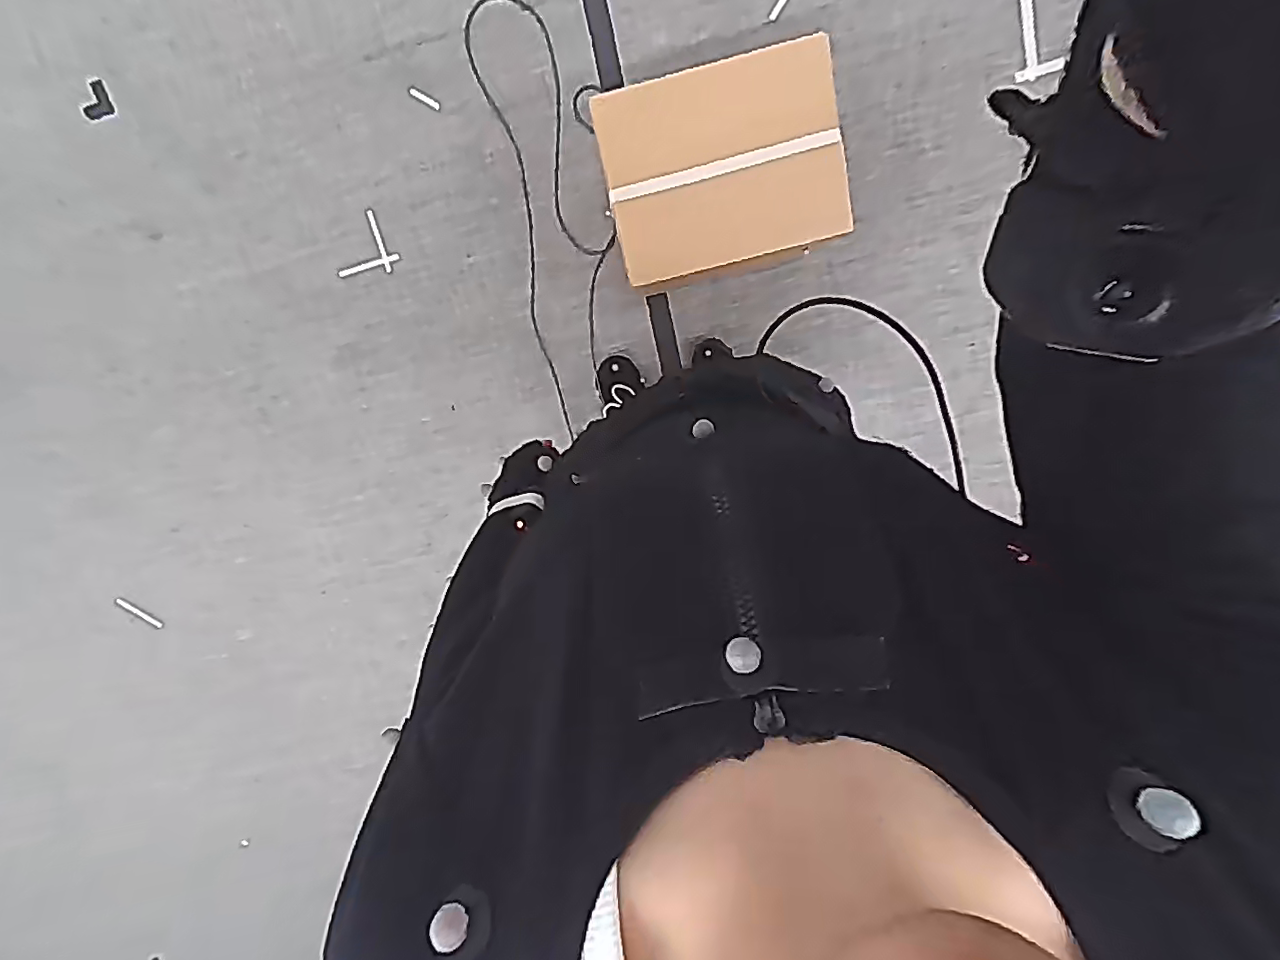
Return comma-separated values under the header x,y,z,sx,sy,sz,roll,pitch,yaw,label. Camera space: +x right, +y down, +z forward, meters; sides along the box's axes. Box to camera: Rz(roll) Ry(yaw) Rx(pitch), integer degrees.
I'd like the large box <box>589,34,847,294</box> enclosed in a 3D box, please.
x,y,z,sx,sy,sz,roll,pitch,yaw,label
0.143,-0.581,1.077,0.408,0.320,0.320,-13,104,4,large box
